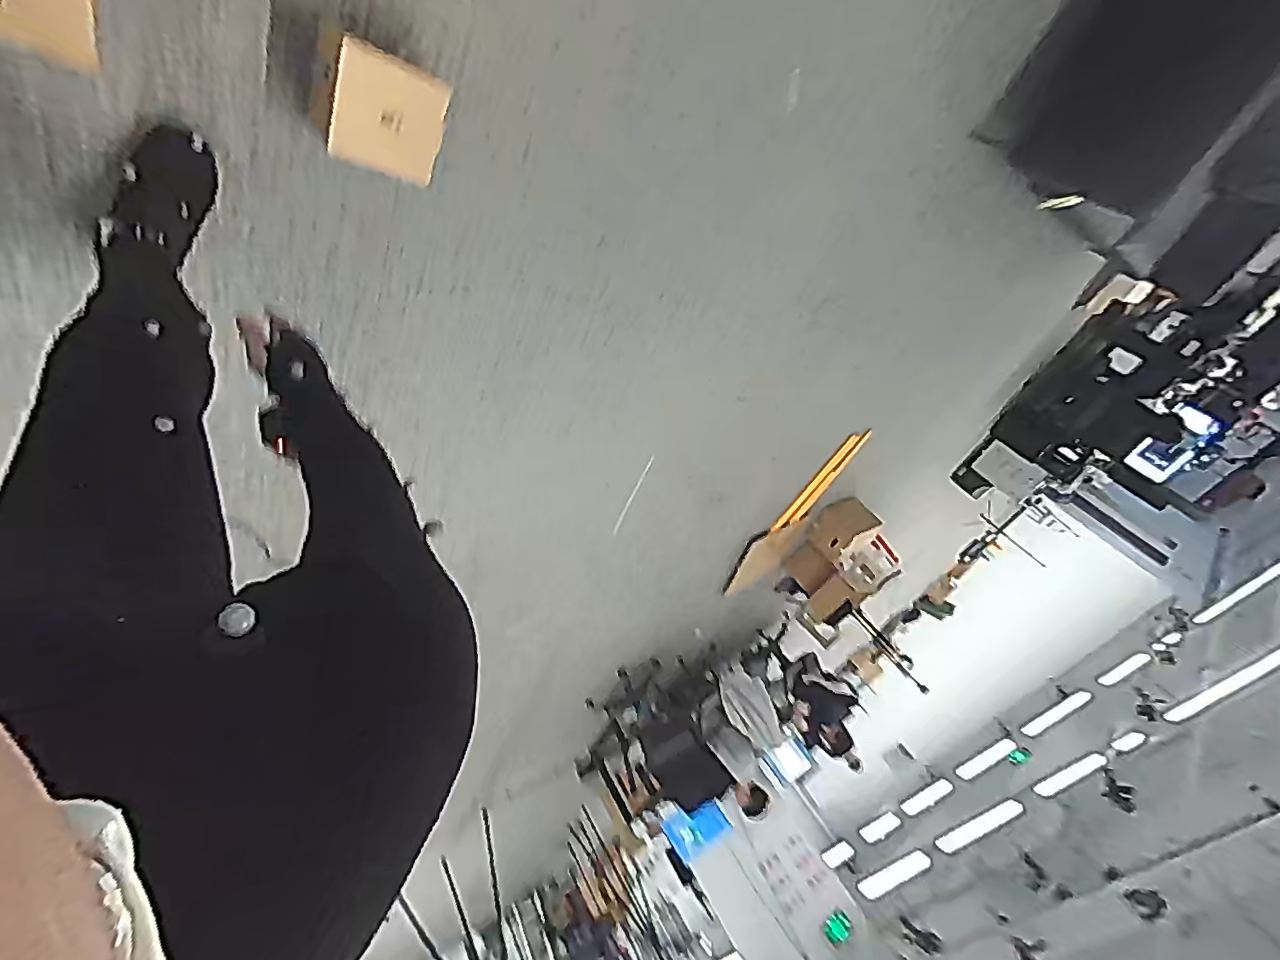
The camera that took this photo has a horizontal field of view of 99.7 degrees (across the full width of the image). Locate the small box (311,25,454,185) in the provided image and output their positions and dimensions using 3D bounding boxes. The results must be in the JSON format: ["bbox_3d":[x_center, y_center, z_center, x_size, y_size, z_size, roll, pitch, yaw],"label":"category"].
[{"bbox_3d":[-0.458,-0.658,0.950,0.179,0.176,0.168,-3,133,-44],"label":"small box"}]

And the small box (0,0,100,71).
[{"bbox_3d":[-0.771,-0.646,0.648,0.168,0.176,0.179,-3,133,-43],"label":"small box"}]
